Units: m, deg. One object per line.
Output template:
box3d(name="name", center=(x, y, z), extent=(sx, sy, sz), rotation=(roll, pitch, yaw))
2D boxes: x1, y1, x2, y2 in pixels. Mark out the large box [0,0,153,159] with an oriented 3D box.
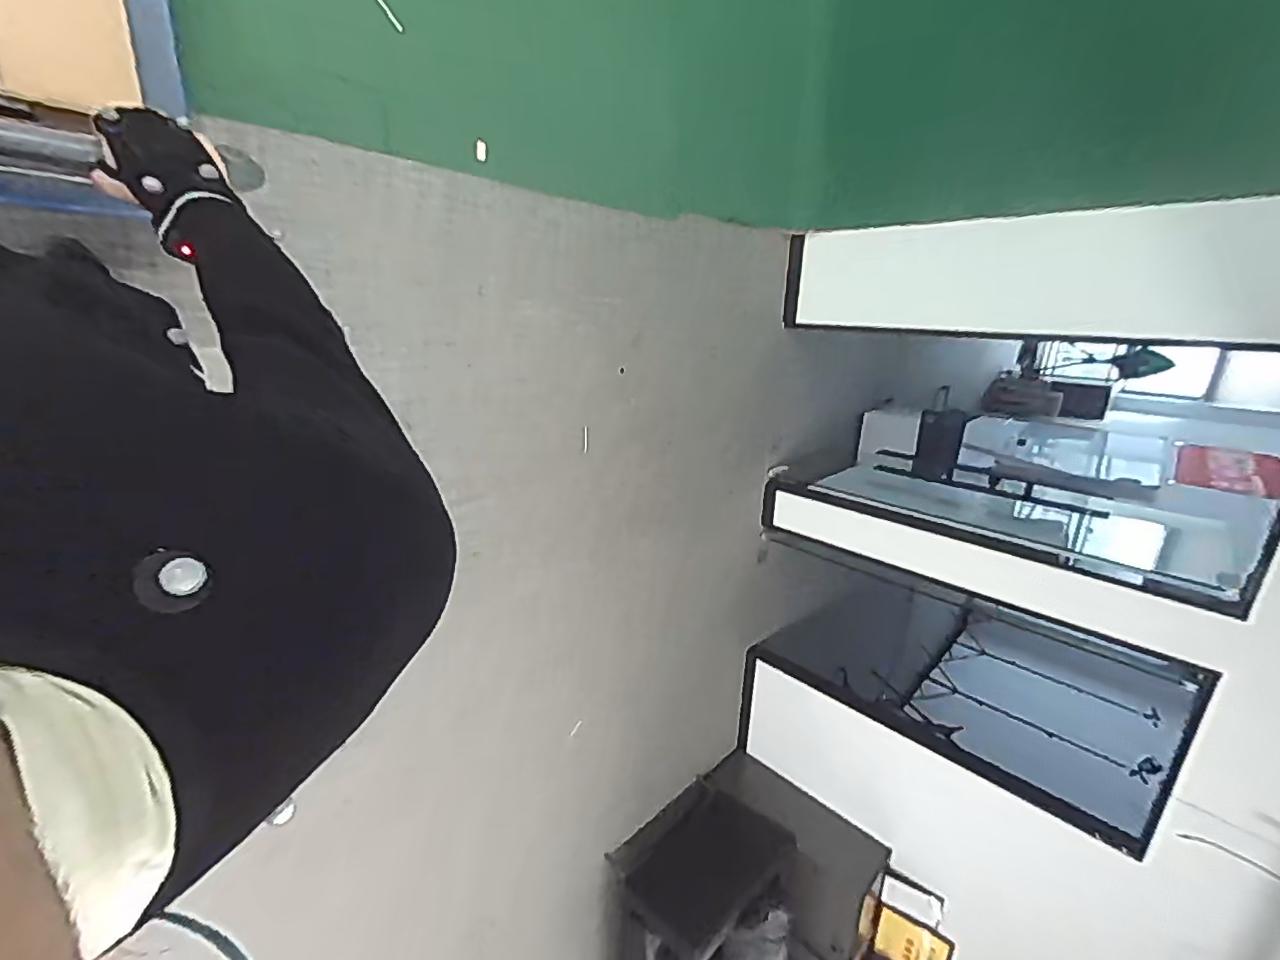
box3d(name="large box", center=(-0.929, -0.717, 0.740), extent=(0.320, 0.320, 0.408), rotation=(-15, 113, -44))
